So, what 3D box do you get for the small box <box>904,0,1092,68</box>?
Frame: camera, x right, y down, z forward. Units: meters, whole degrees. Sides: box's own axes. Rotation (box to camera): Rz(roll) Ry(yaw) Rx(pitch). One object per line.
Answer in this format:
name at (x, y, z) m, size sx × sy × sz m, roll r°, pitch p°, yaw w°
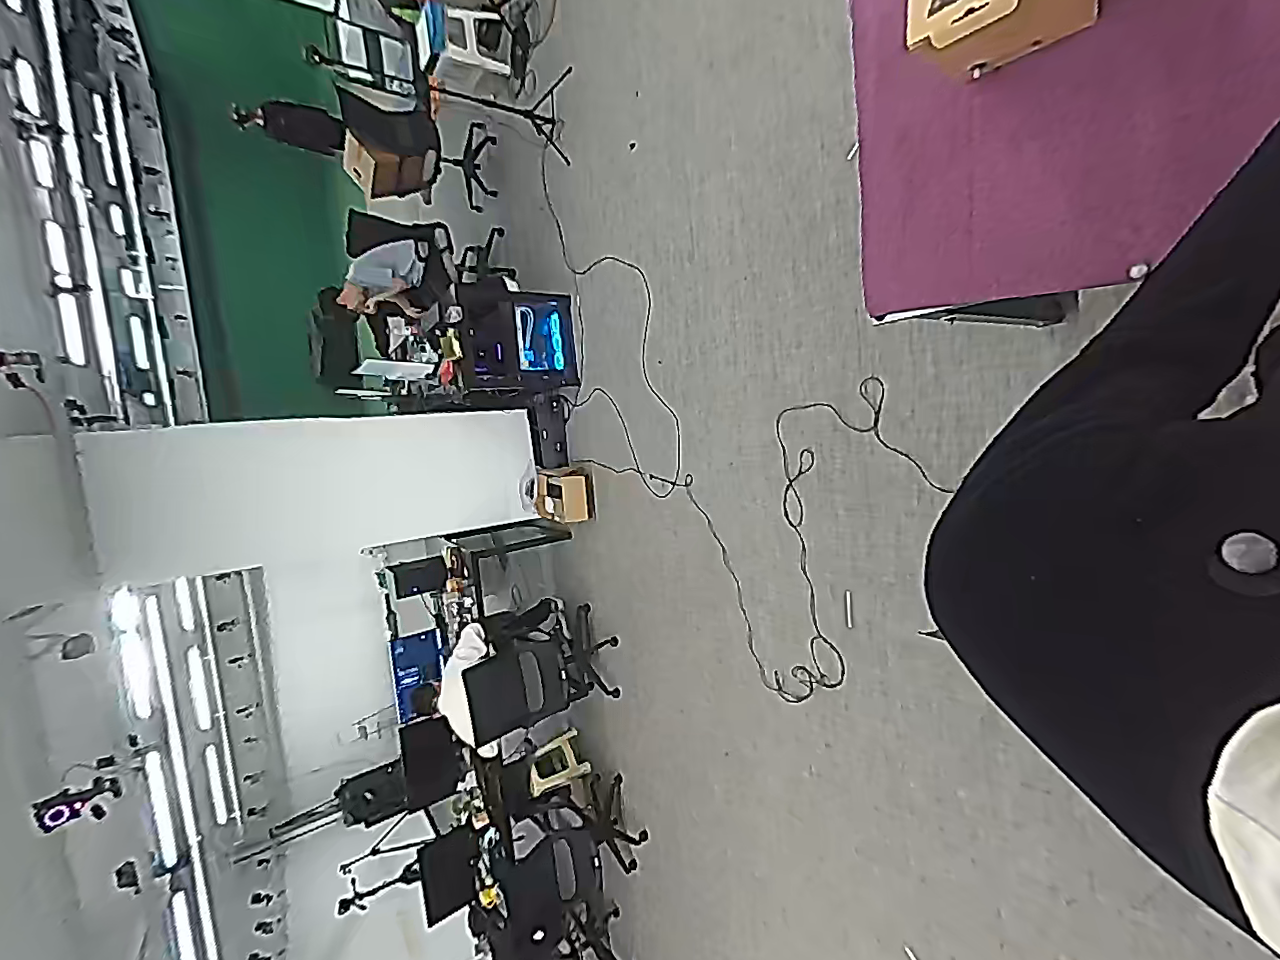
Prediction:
small box at (0.473, -0.680, 0.707) m, size 0.168 × 0.176 × 0.179 m, roll 12°, pitch 108°, yaw 54°
